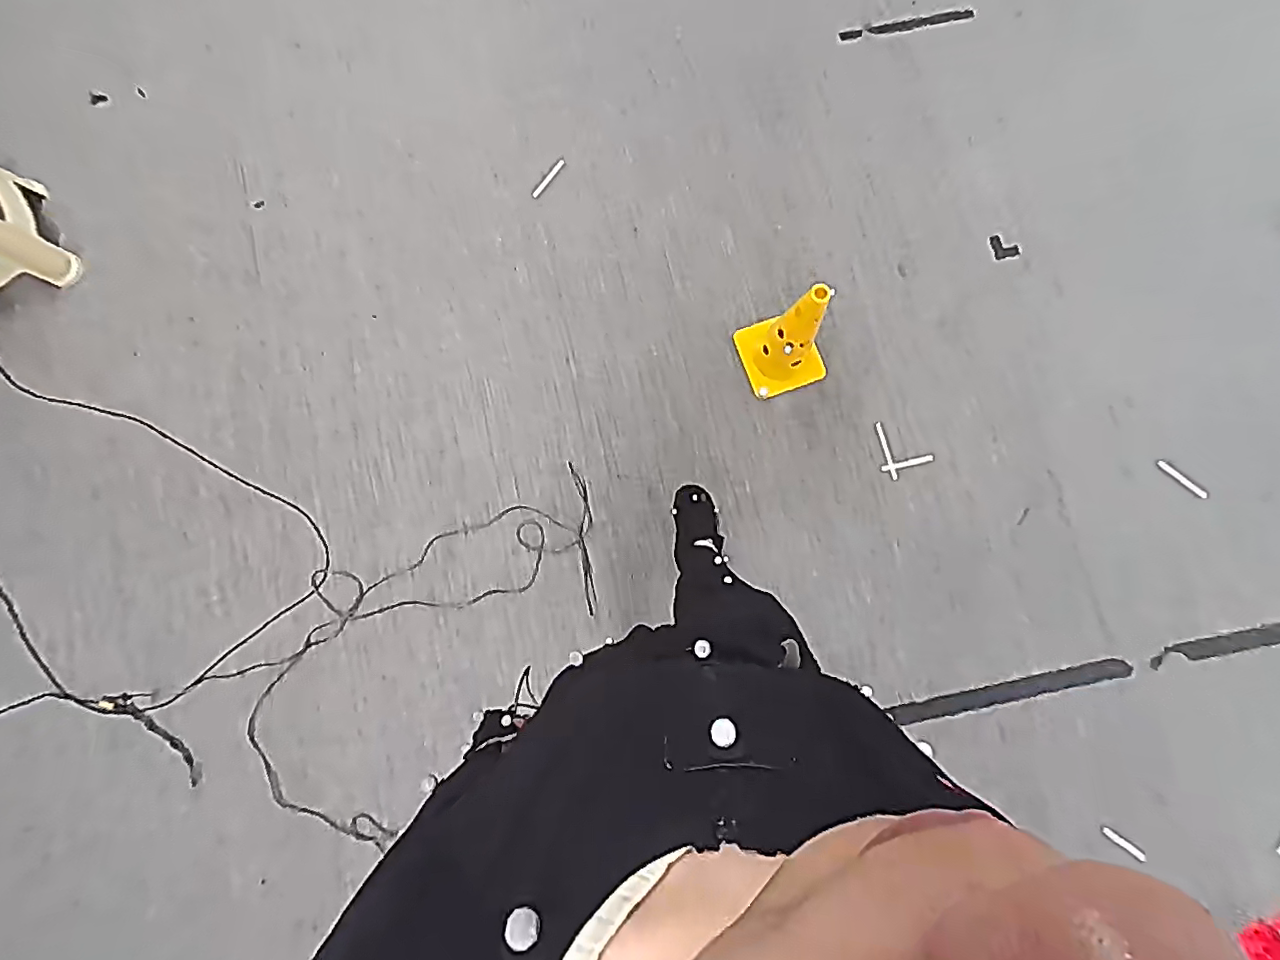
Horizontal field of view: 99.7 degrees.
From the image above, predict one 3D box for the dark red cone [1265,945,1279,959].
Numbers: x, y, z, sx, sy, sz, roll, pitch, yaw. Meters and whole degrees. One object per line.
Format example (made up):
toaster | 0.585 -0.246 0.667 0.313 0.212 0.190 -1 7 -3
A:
dark red cone | 1.494 1.082 1.023 0.202 0.394 0.201 -20 82 -2
